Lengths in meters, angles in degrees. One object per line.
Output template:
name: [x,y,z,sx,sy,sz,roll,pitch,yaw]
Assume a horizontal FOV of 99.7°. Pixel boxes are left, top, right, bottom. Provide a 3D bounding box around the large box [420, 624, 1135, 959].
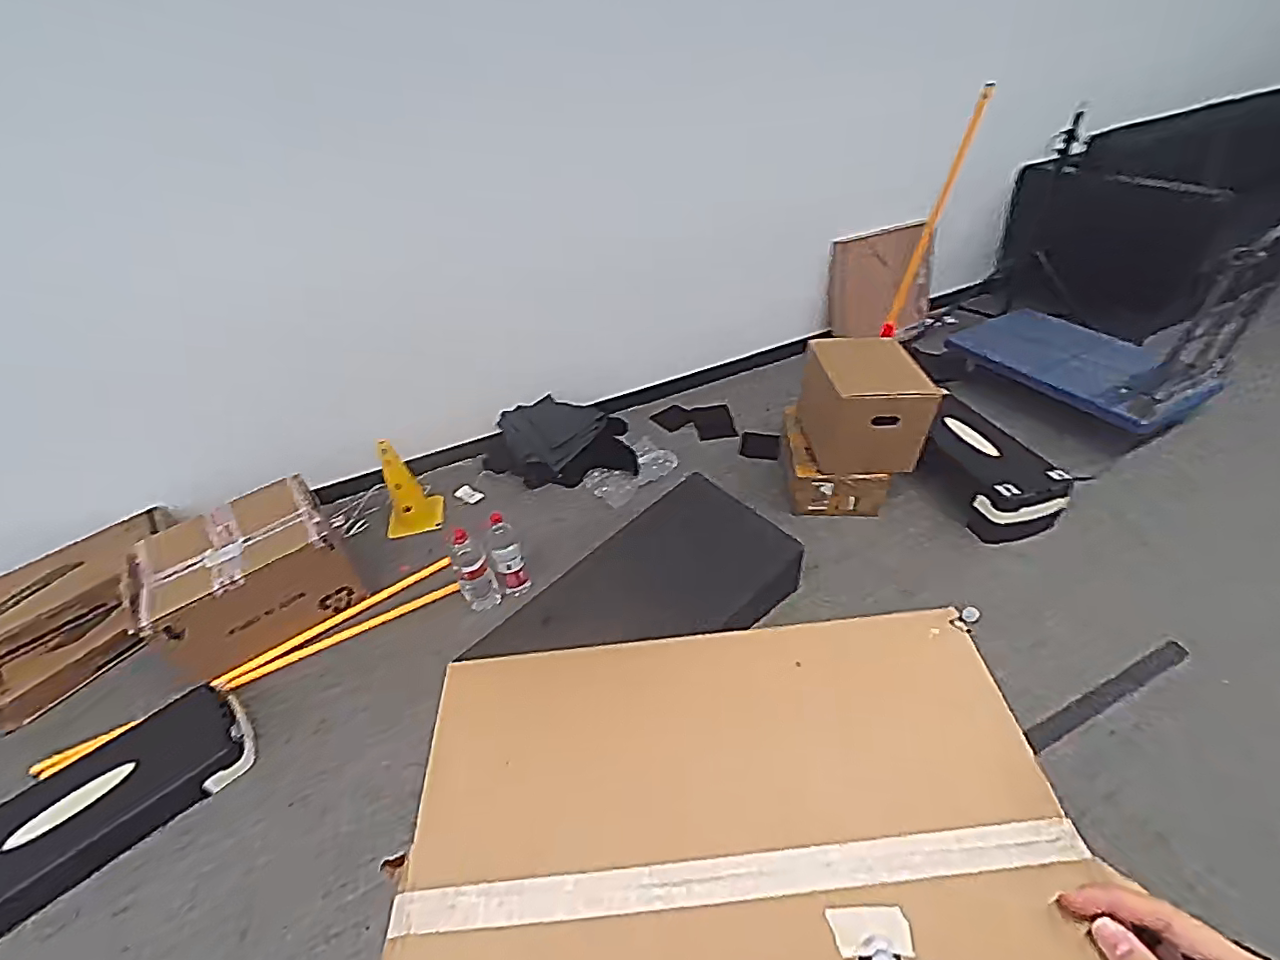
large box: [0.076,0.350,0.433,0.408,0.320,0.320,-6,47,0]
